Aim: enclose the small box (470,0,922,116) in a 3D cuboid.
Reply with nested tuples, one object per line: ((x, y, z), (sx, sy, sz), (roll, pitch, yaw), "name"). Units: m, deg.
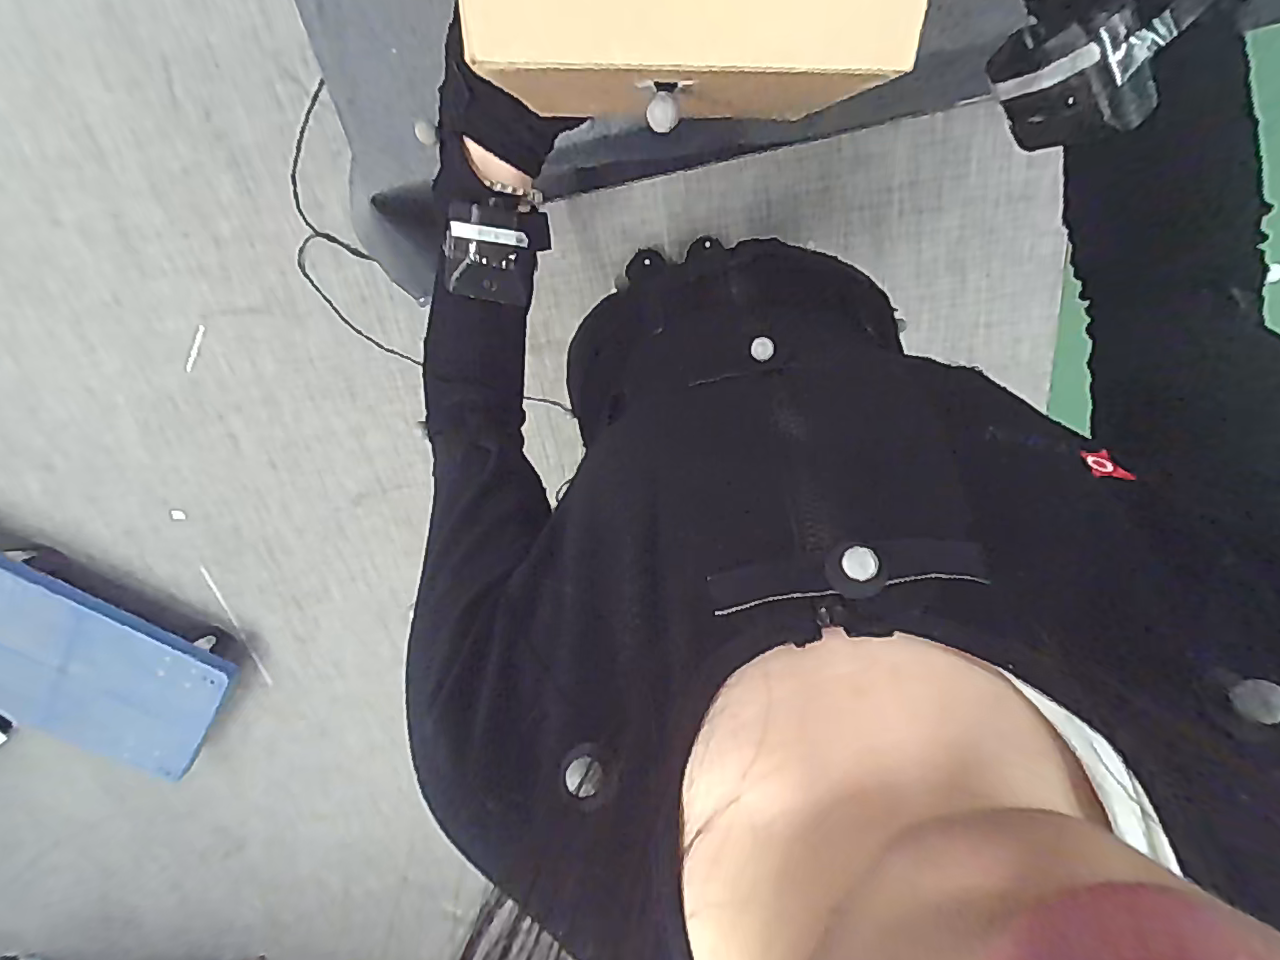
((0.022, -0.275, 0.246), (0.179, 0.176, 0.168), (1, 119, 0), "small box")
